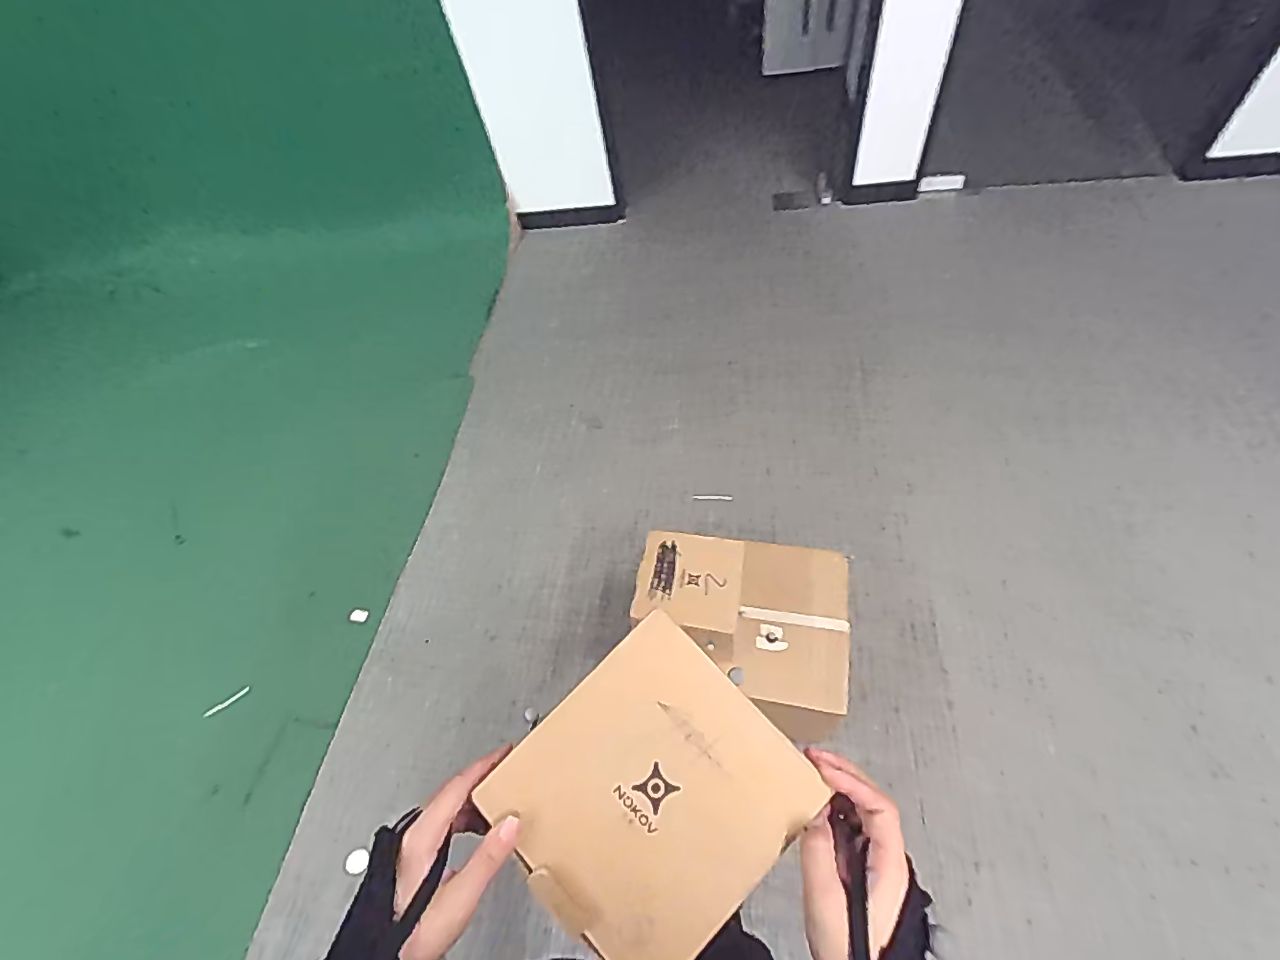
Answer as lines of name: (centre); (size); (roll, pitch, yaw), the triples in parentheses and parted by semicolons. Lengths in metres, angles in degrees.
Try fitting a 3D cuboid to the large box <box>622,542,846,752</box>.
large box: (0.202, 0.360, 1.162); (0.408, 0.320, 0.320); (6, 57, 12)
